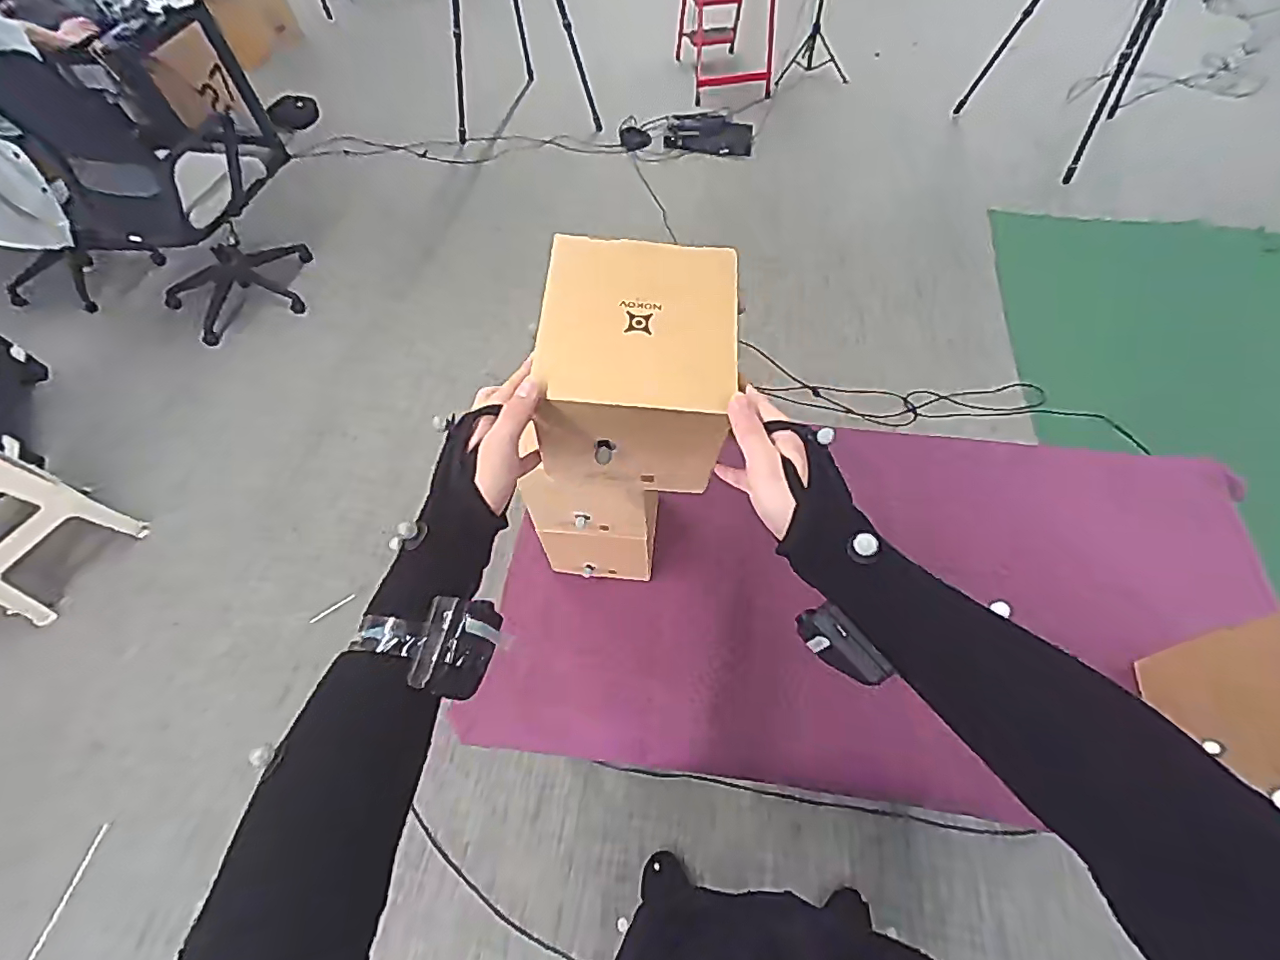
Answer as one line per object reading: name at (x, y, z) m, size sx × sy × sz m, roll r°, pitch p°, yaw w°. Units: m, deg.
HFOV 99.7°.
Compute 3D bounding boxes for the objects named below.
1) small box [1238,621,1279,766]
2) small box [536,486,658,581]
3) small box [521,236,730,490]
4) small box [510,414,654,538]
small box at (0.782, 0.229, 0.542) m, size 0.168 × 0.176 × 0.179 m, roll 10°, pitch 58°, yaw 10°
small box at (-0.059, 0.048, 0.891) m, size 0.168 × 0.176 × 0.179 m, roll 4°, pitch 59°, yaw 6°
small box at (-0.009, -0.101, 0.524) m, size 0.168 × 0.176 × 0.179 m, roll 4°, pitch 66°, yaw -1°
small box at (-0.064, -0.039, 0.753) m, size 0.168 × 0.176 × 0.179 m, roll 4°, pitch 59°, yaw 6°
